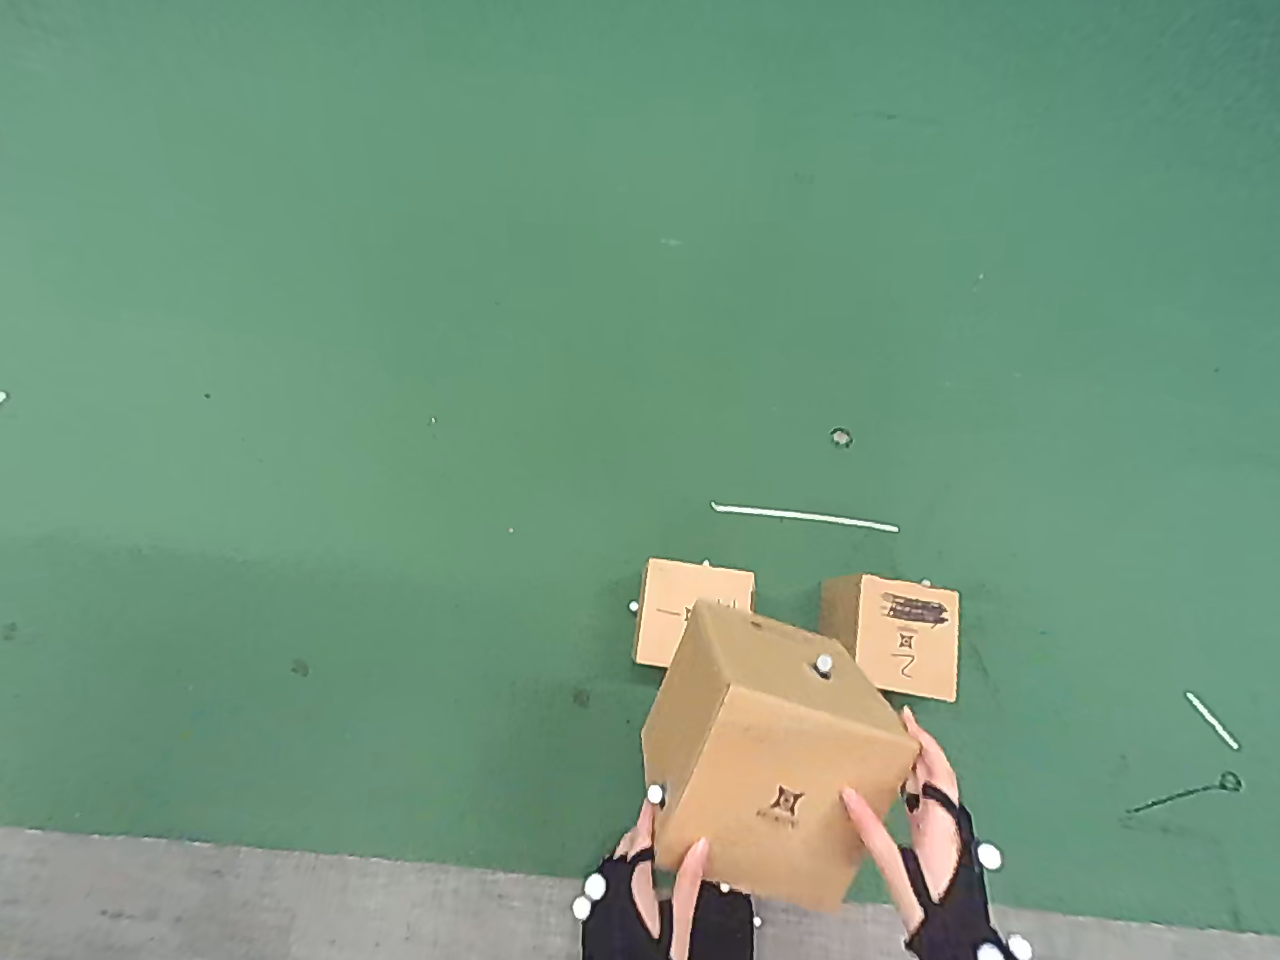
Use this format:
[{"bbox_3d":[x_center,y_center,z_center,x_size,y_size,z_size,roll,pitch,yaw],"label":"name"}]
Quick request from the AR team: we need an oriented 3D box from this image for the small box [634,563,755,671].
[{"bbox_3d":[0.087,0.243,0.930,0.179,0.176,0.168,8,74,0],"label":"small box"}]

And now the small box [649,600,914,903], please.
[{"bbox_3d":[0.112,0.240,0.515,0.168,0.176,0.179,19,102,-6],"label":"small box"}]
